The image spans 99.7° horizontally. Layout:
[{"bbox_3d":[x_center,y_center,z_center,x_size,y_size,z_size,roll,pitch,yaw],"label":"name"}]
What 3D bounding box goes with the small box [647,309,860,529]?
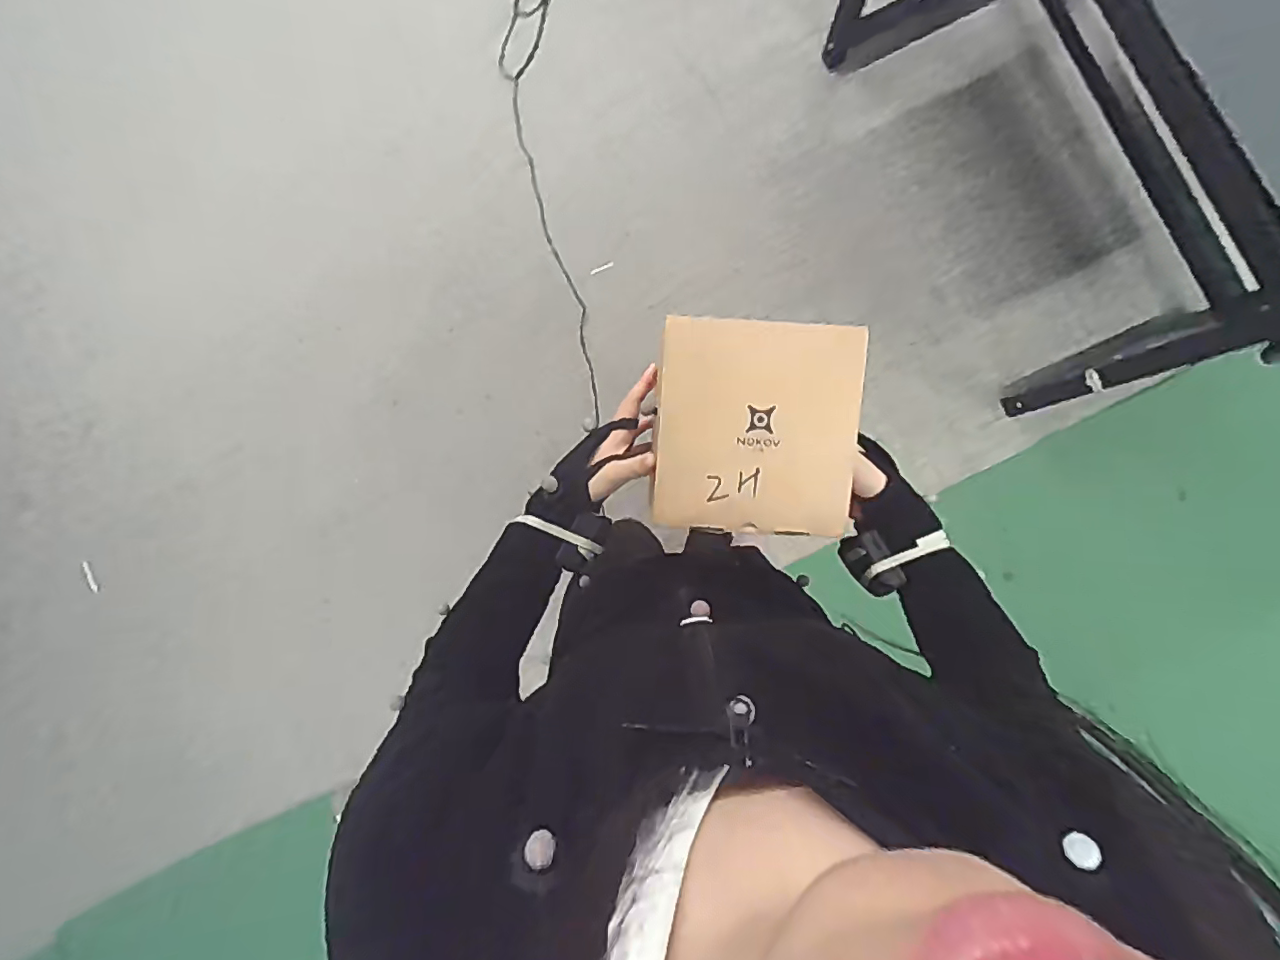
[{"bbox_3d":[0.094,-0.058,0.527,0.168,0.176,0.179,3,98,0],"label":"small box"}]
